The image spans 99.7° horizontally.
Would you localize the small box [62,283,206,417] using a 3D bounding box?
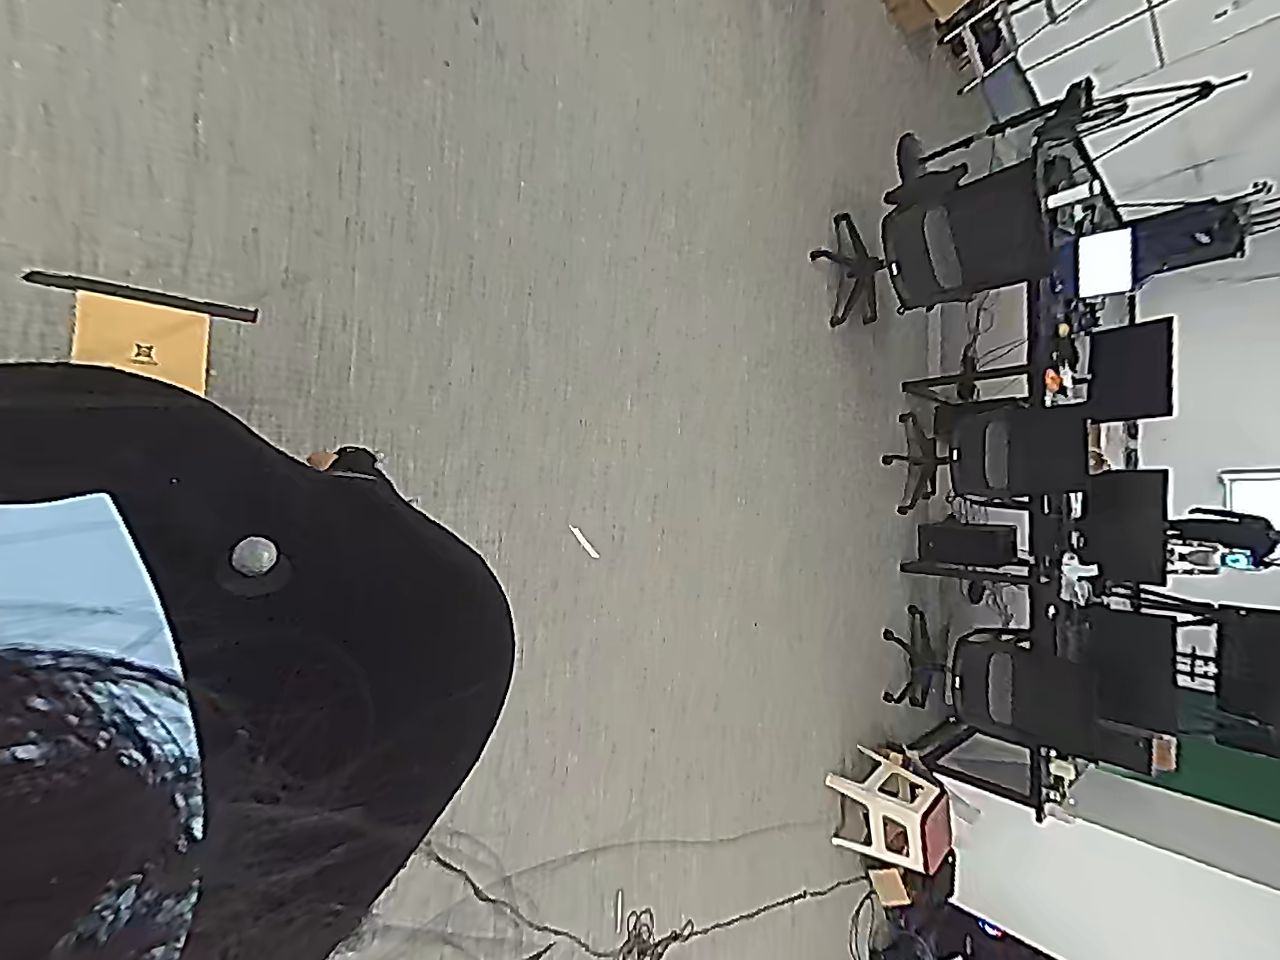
[{"bbox_3d":[-0.875,-0.214,0.944,0.168,0.176,0.179,4,87,-41],"label":"small box"}]
